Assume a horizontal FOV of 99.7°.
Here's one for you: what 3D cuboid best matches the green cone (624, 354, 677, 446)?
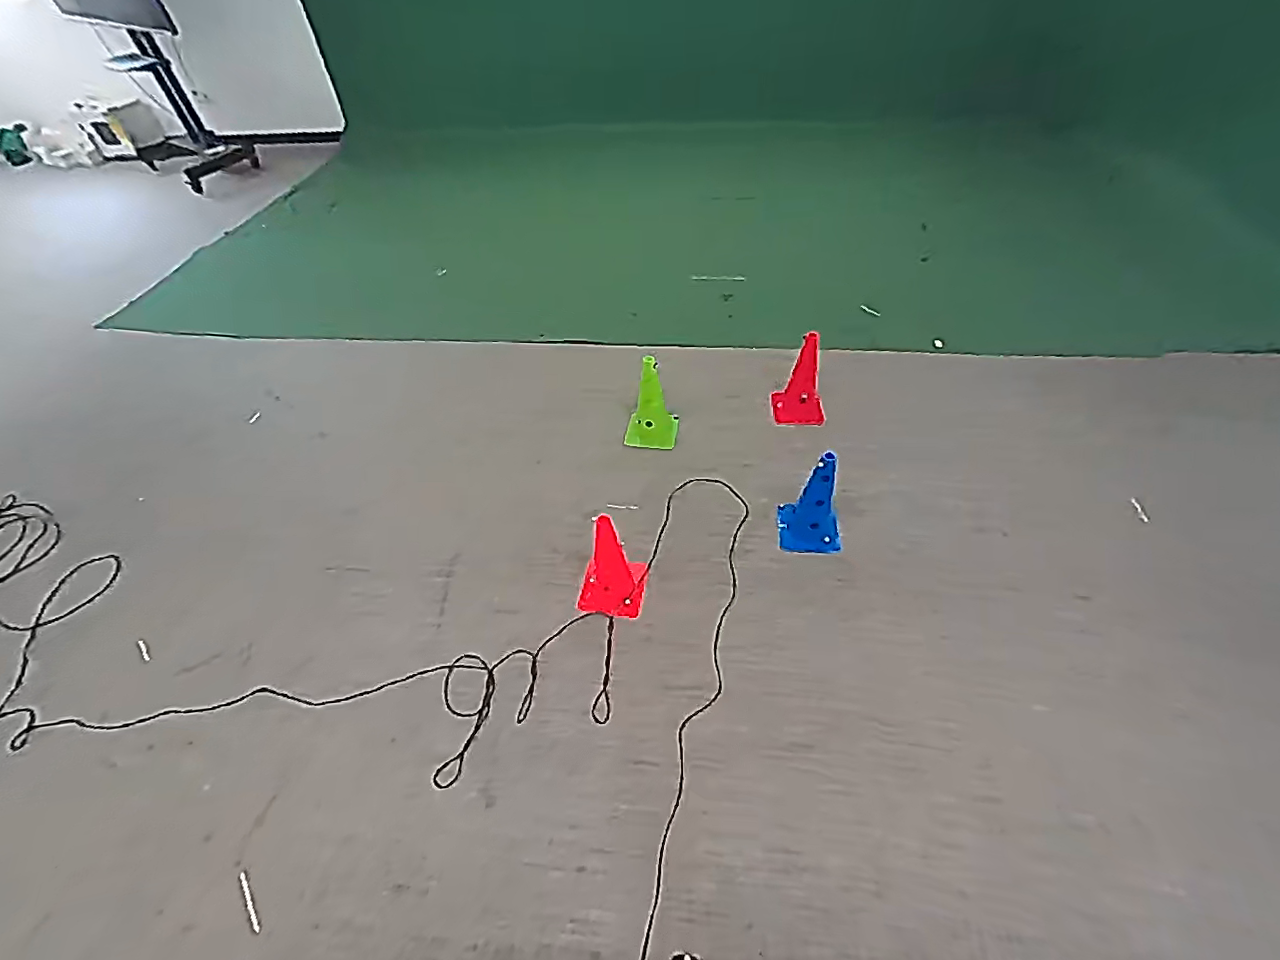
[{"bbox_3d":[0.035,-0.326,2.071,0.200,0.368,0.202,4,50,8],"label":"green cone"}]

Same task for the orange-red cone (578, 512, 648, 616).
[{"bbox_3d":[-0.090,0.218,1.598,0.198,0.360,0.199,7,48,9],"label":"orange-red cone"}]
